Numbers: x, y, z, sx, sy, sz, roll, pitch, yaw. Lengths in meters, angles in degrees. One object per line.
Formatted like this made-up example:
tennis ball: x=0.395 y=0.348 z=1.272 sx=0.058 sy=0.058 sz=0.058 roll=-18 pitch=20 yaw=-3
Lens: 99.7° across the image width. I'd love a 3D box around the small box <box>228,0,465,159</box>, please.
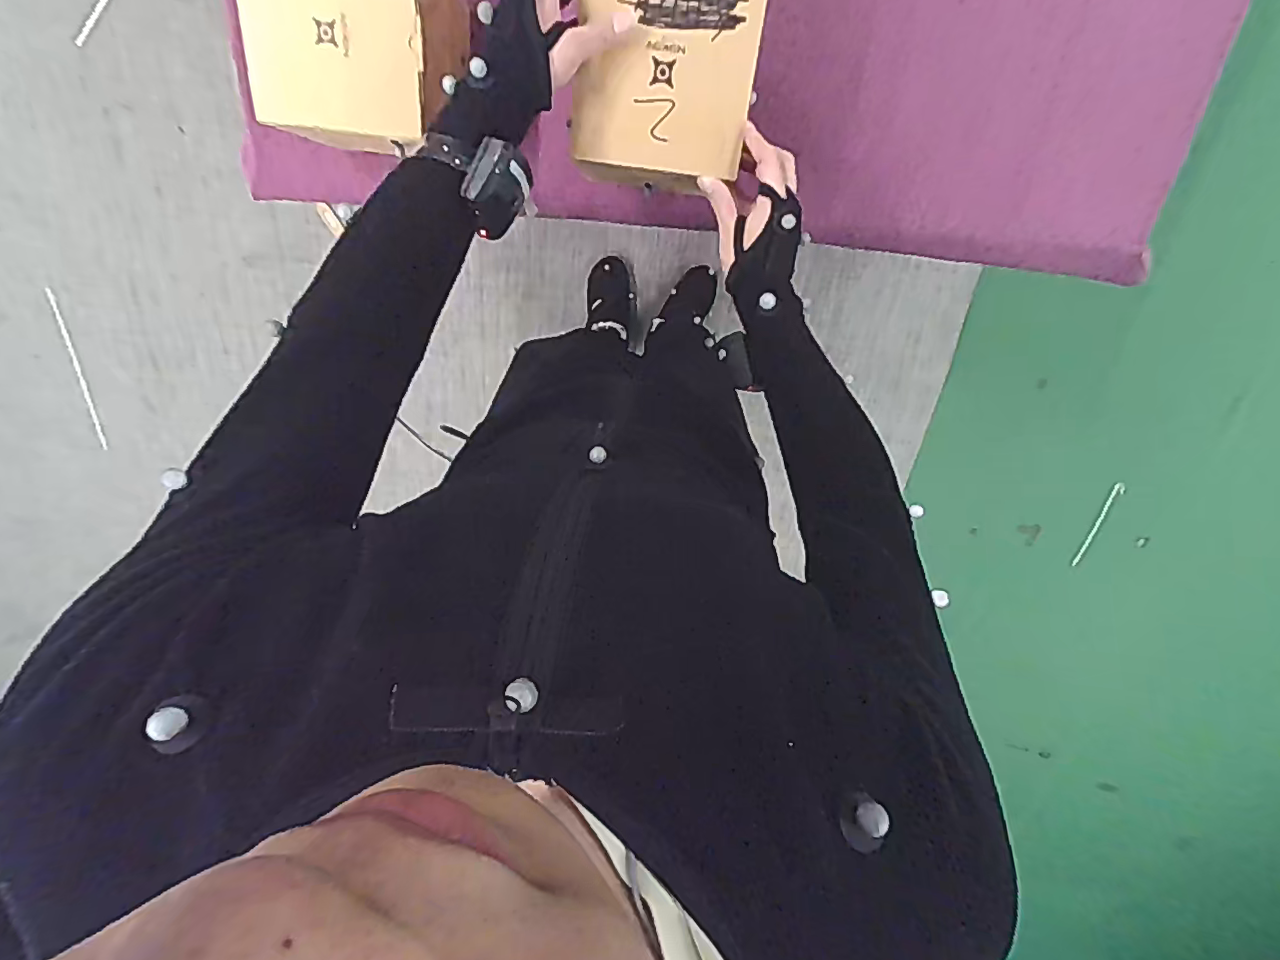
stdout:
small box: x=-0.306 y=-0.464 z=0.593 sx=0.179 sy=0.176 sz=0.168 roll=5 pitch=113 yaw=-2
